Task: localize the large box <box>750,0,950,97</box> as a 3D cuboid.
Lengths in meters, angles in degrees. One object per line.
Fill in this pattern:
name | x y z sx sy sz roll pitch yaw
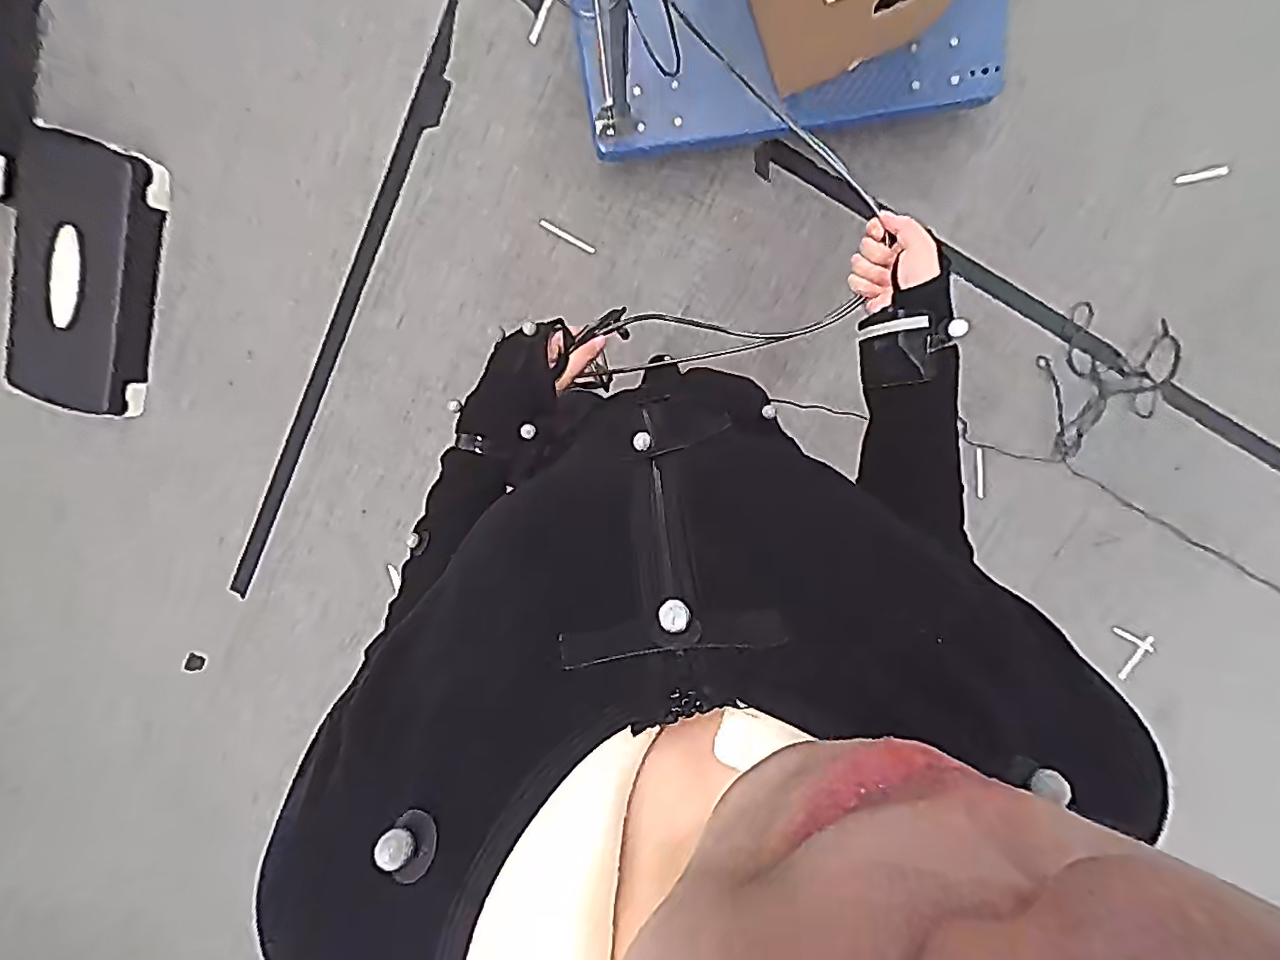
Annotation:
large box | 0.358 -0.999 0.937 0.320 0.320 0.408 -22 102 6
